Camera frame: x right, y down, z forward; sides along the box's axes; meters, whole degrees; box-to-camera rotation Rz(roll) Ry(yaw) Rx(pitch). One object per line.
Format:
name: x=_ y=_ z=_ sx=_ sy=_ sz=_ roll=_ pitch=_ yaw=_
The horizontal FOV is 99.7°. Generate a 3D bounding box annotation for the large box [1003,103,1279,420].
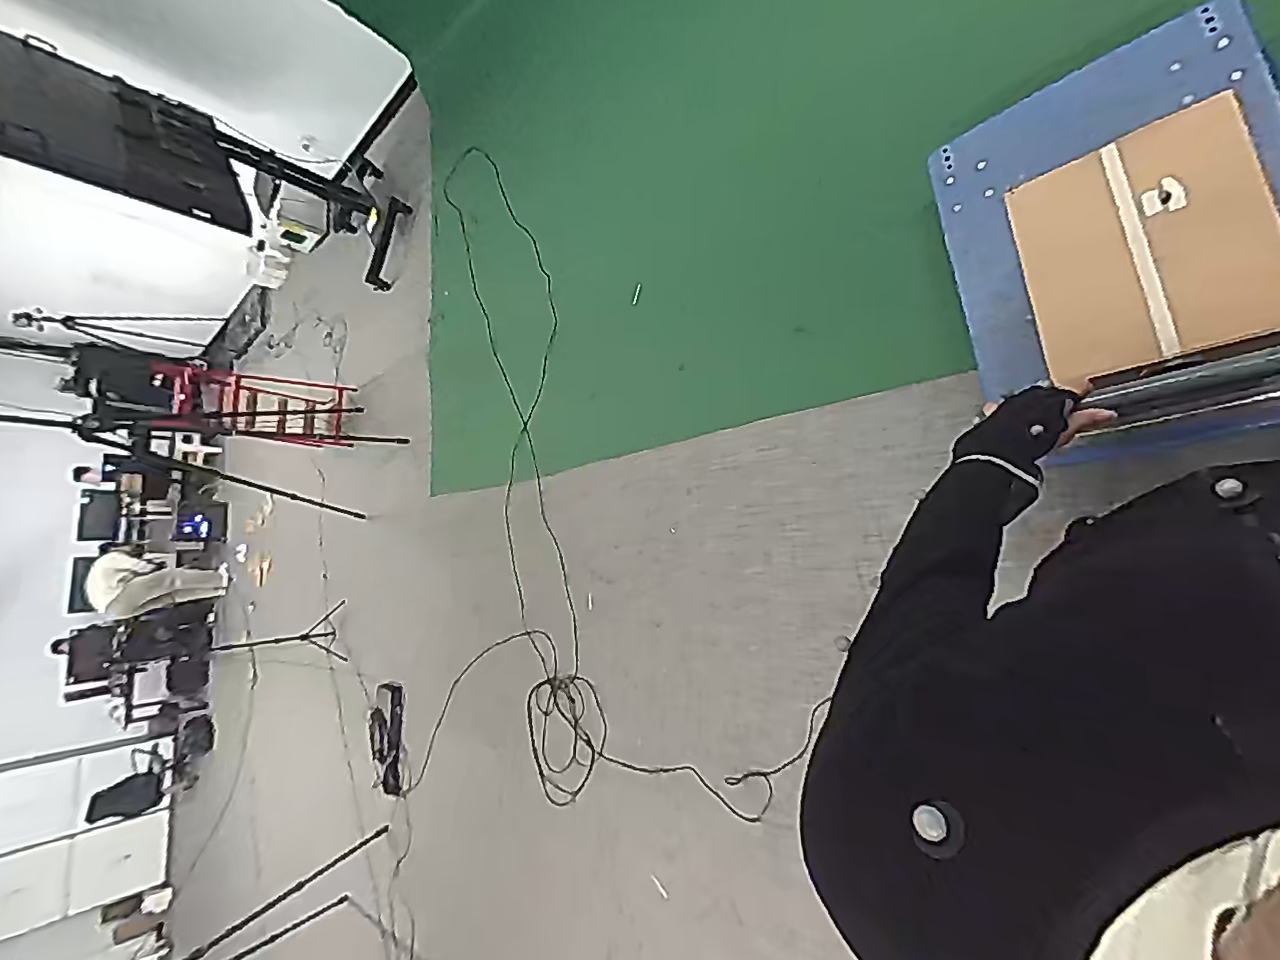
large box: x=0.940 y=-0.367 z=1.025 sx=0.320 sy=0.320 sz=0.408 roll=-15 pitch=75 yaw=39
